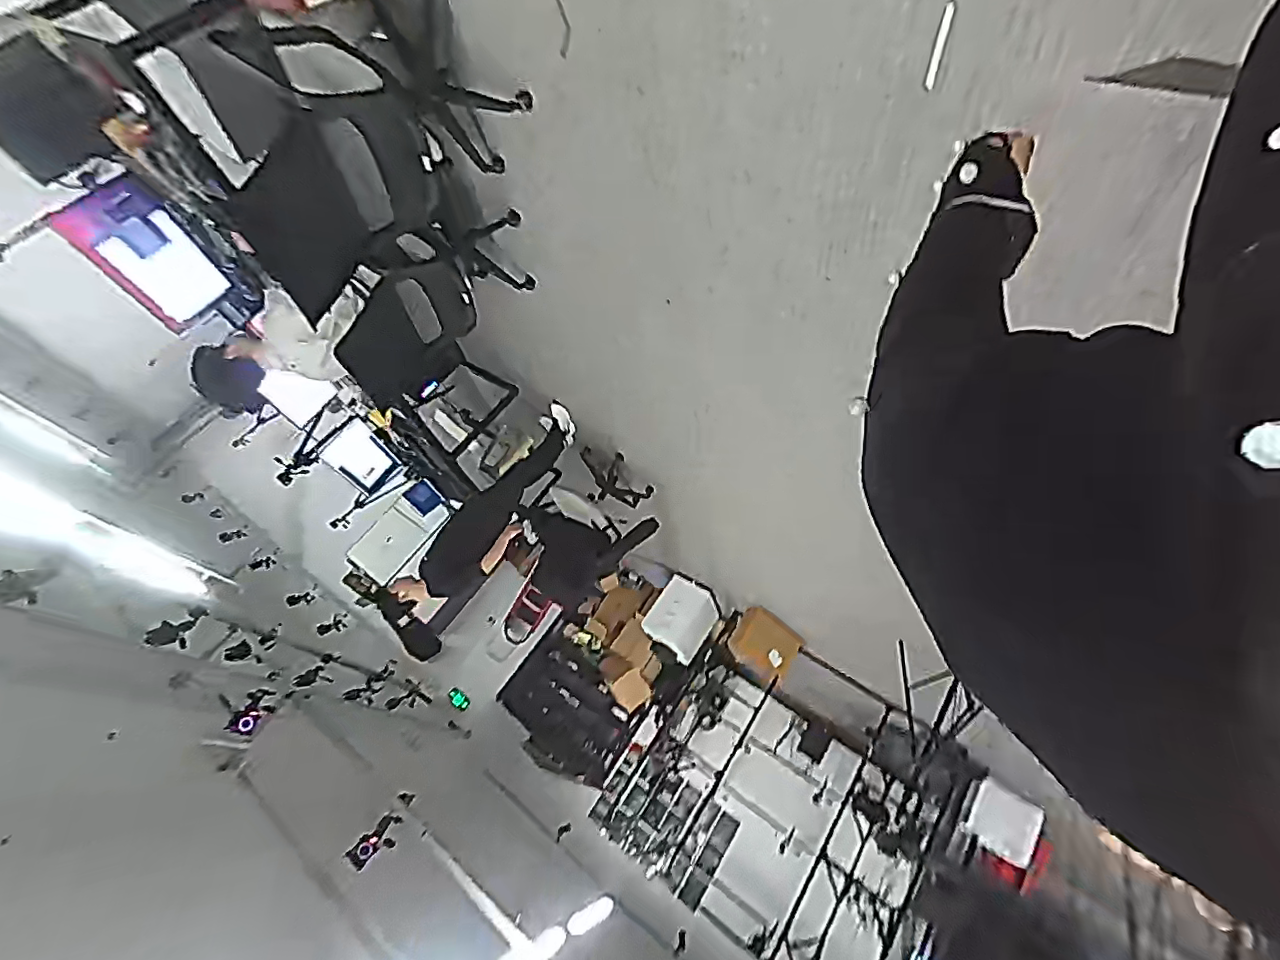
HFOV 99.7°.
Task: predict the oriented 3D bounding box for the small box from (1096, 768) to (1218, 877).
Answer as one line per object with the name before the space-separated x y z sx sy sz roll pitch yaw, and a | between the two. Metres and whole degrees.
small box | 1.359 0.899 1.422 0.179 0.176 0.168 26 152 32
